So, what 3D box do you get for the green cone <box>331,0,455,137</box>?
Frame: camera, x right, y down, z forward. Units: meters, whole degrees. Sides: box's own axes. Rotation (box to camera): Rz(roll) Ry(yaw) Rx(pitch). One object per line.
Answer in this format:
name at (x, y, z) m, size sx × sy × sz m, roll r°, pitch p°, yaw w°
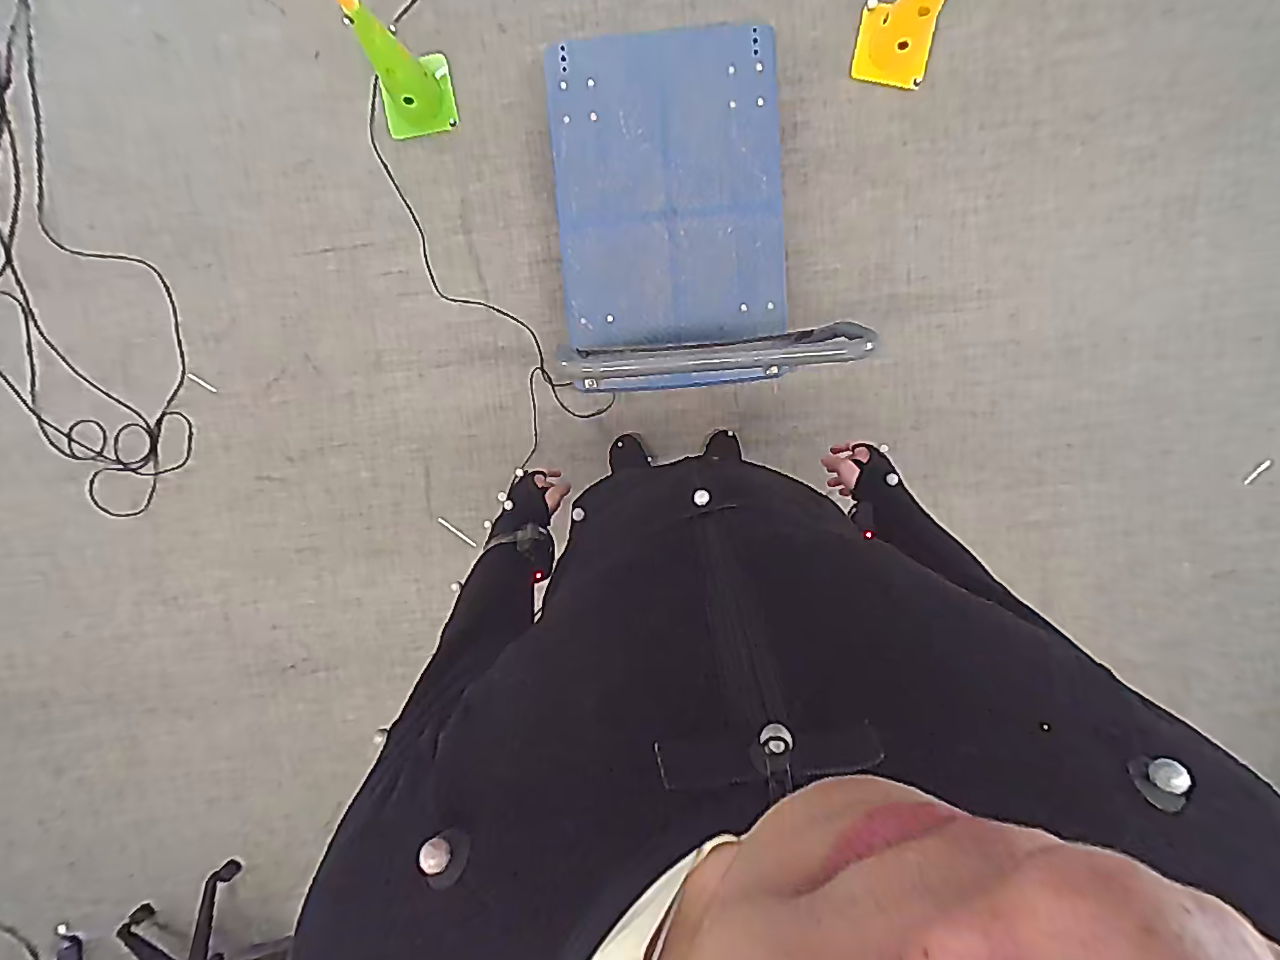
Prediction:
green cone at (-0.635, -1.062, 1.338) m, size 0.202 × 0.368 × 0.200 m, roll -10°, pitch 96°, yaw 4°
